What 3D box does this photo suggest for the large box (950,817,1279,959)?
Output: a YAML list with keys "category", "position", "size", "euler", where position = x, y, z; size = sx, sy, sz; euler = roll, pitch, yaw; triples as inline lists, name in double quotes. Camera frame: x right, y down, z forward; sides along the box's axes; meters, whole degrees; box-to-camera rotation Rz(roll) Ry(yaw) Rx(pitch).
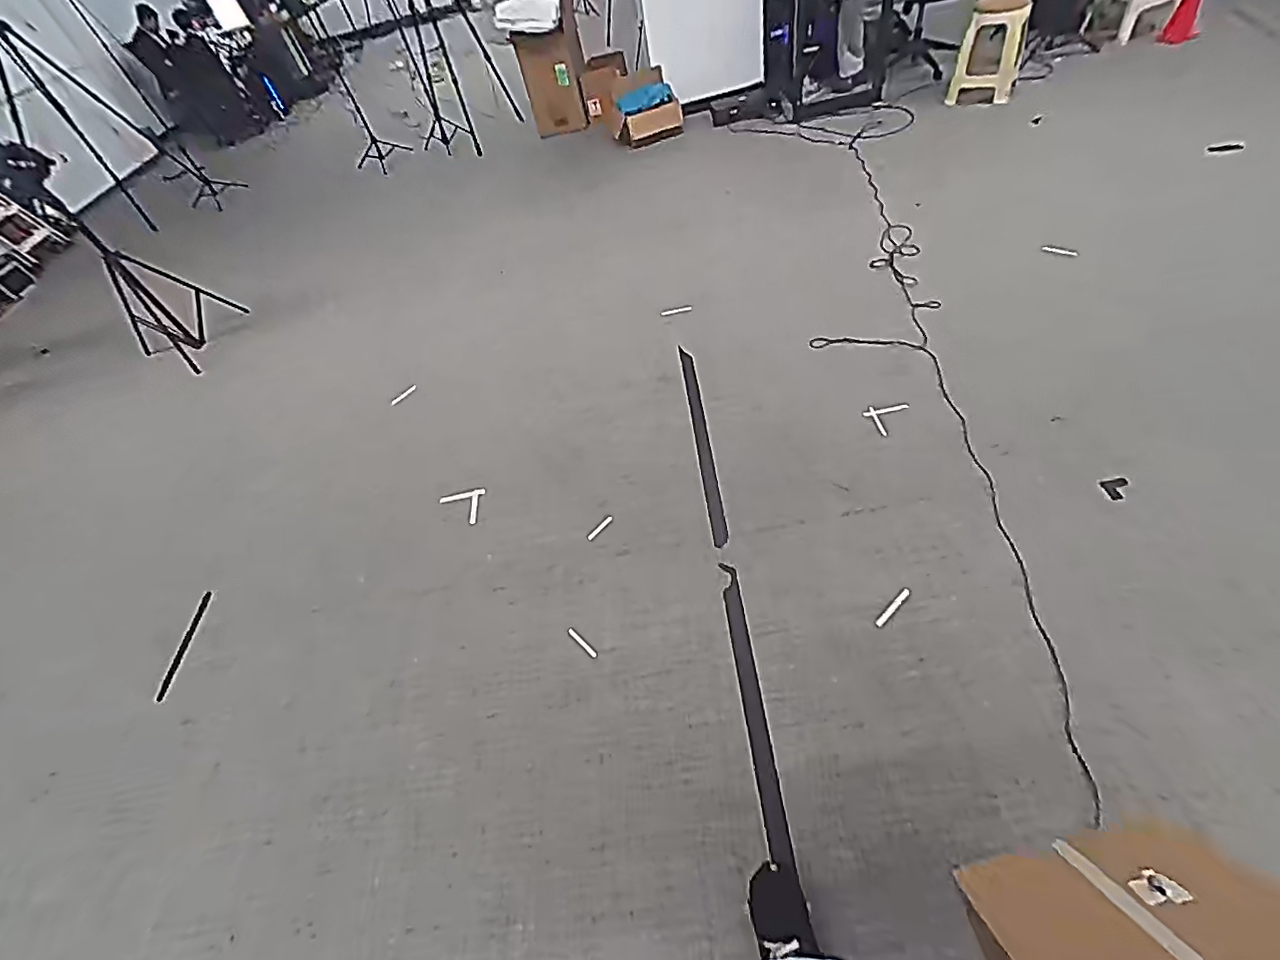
- category: "large box"
  position: [0.627, 0.651, 0.578]
  size: [0.320, 0.408, 0.320]
  euler: [-18, 80, 6]
